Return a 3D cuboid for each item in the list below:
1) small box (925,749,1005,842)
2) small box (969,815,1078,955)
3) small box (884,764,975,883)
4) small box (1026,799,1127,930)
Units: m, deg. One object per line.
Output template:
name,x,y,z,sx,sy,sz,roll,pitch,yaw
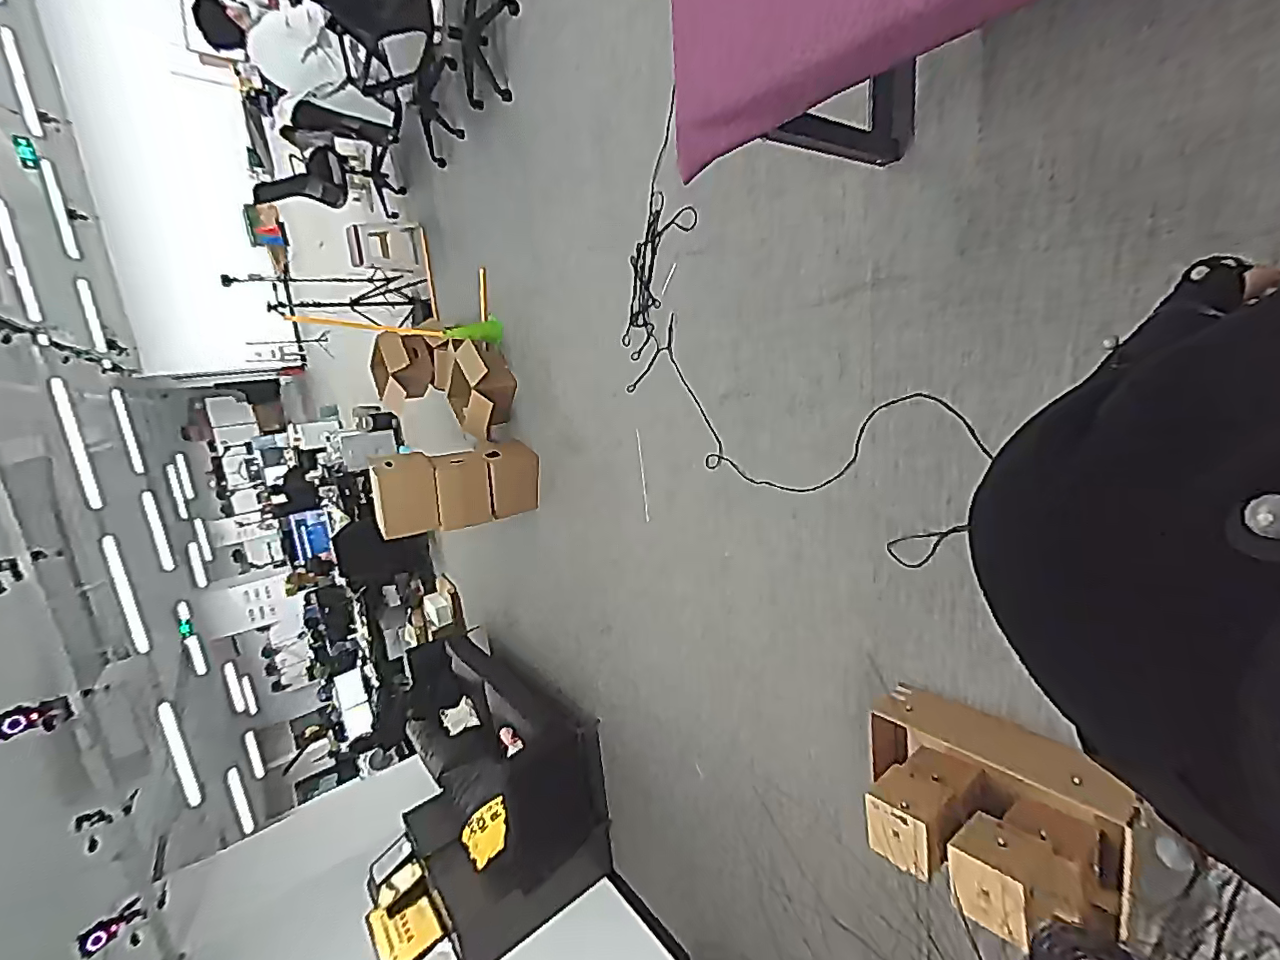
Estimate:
small box,0.929,0.914,1.564,0.179,0.176,0.168,-3,99,55
small box,0.922,0.955,1.299,0.168,0.176,0.179,1,101,57
small box,0.791,0.924,1.473,0.168,0.176,0.179,3,105,53
small box,1.084,0.945,1.352,0.179,0.176,0.168,4,103,57
